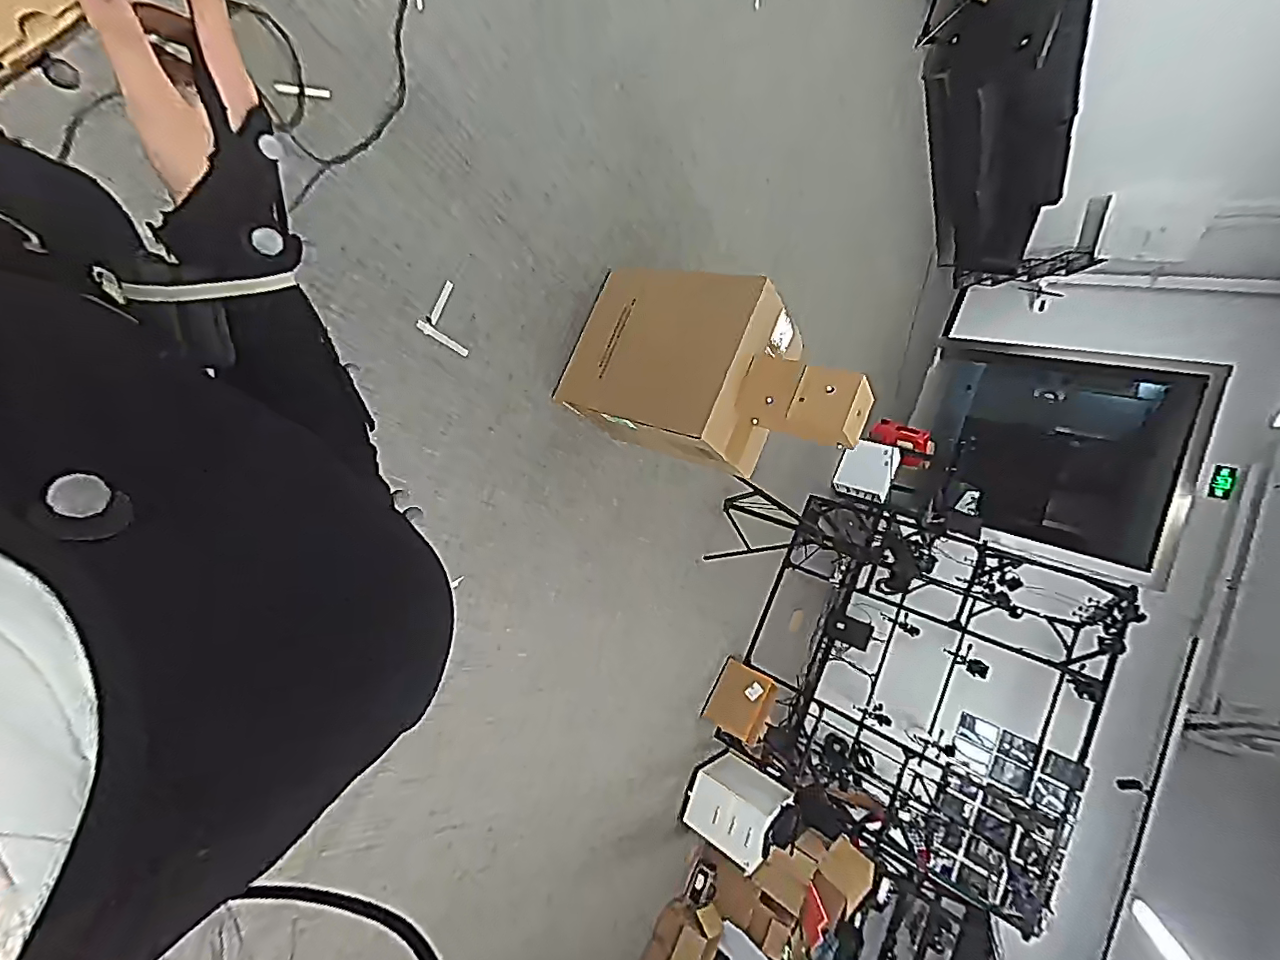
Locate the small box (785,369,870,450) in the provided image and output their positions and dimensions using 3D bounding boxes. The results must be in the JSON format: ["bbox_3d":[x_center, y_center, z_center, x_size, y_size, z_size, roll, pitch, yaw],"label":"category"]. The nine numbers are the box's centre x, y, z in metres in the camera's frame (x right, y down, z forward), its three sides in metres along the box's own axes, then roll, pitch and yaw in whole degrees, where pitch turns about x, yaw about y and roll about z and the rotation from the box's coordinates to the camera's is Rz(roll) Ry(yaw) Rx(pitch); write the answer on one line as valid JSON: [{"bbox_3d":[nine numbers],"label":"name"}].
[{"bbox_3d":[0.535,-0.205,1.547,0.179,0.176,0.168,29,83,-56],"label":"small box"}]

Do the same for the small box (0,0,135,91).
[{"bbox_3d":[-0.351,-0.282,0.227,0.168,0.176,0.179,-49,142,-12],"label":"small box"}]
